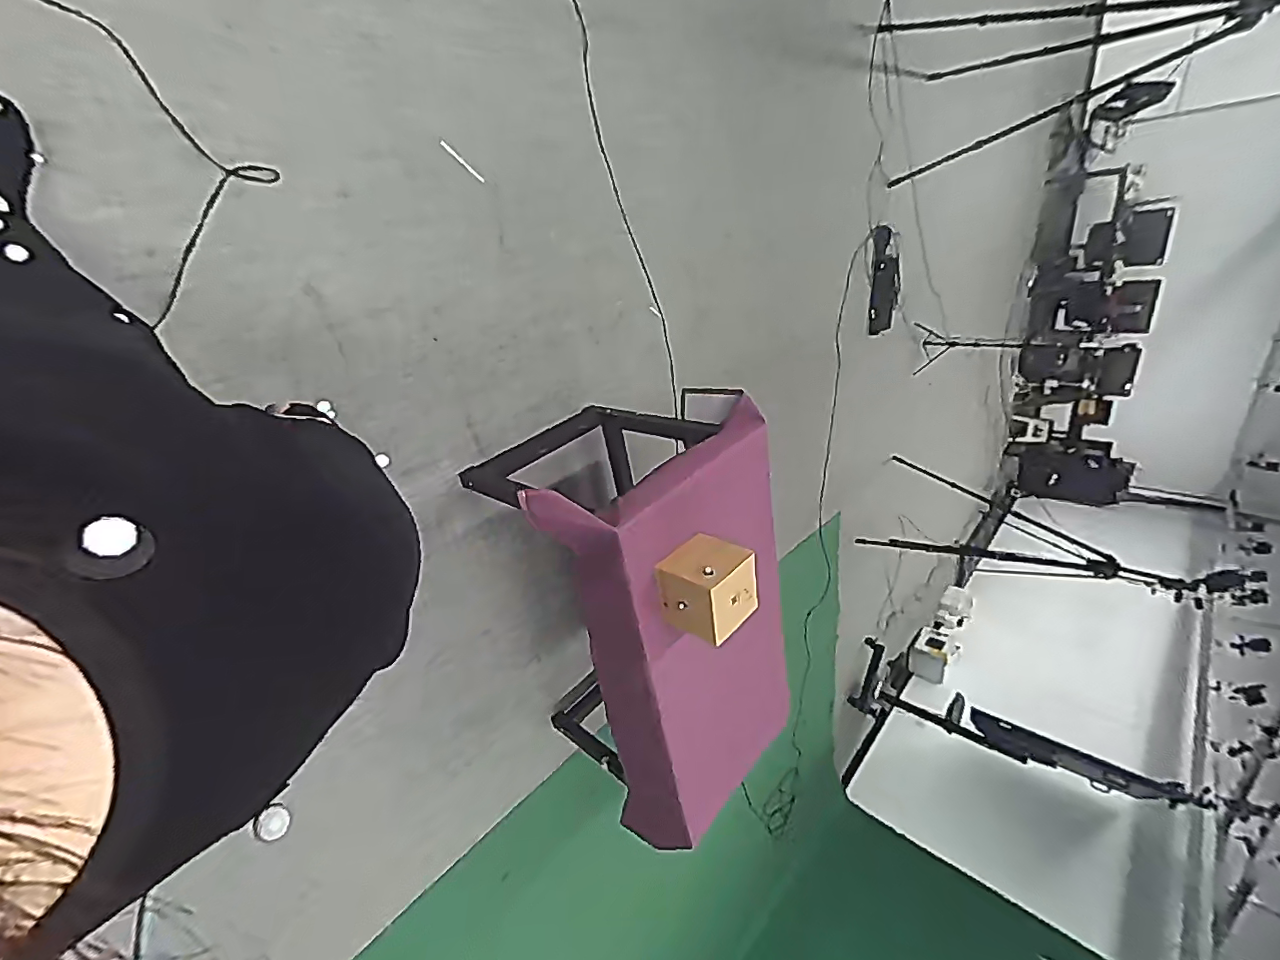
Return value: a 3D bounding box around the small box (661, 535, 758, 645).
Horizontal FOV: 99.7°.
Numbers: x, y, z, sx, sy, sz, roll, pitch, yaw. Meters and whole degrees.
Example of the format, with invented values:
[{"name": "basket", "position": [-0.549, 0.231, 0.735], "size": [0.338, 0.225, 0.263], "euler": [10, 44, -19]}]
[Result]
[{"name": "small box", "position": [0.164, 0.258, 1.307], "size": [0.179, 0.176, 0.168], "euler": [-31, 123, -38]}]
